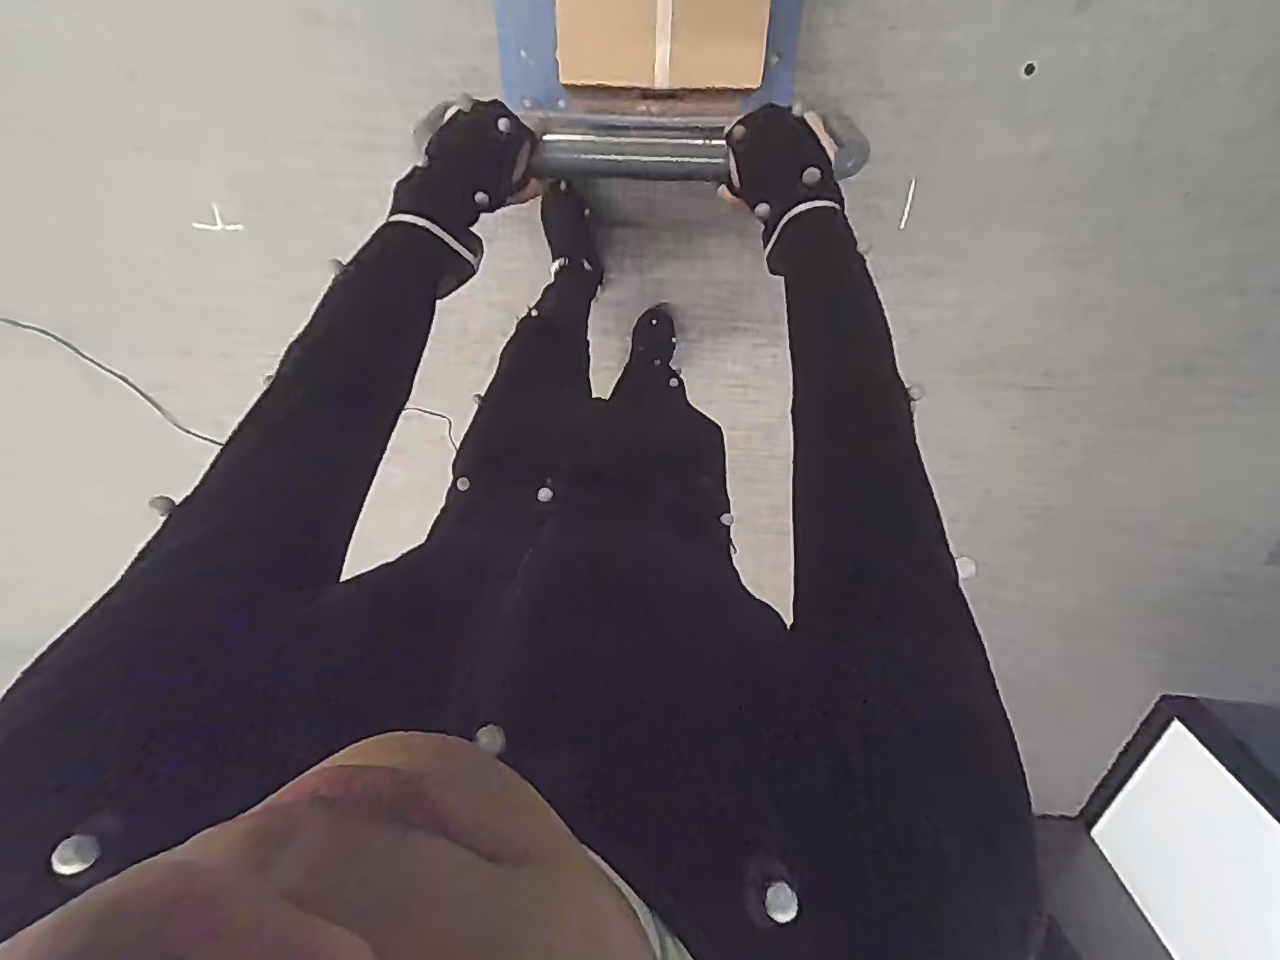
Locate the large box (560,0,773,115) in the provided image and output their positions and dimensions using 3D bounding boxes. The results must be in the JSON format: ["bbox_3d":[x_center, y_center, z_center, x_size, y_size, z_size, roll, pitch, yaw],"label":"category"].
[{"bbox_3d":[0.045,-0.850,0.876,0.320,0.320,0.408,2,117,0],"label":"large box"}]
